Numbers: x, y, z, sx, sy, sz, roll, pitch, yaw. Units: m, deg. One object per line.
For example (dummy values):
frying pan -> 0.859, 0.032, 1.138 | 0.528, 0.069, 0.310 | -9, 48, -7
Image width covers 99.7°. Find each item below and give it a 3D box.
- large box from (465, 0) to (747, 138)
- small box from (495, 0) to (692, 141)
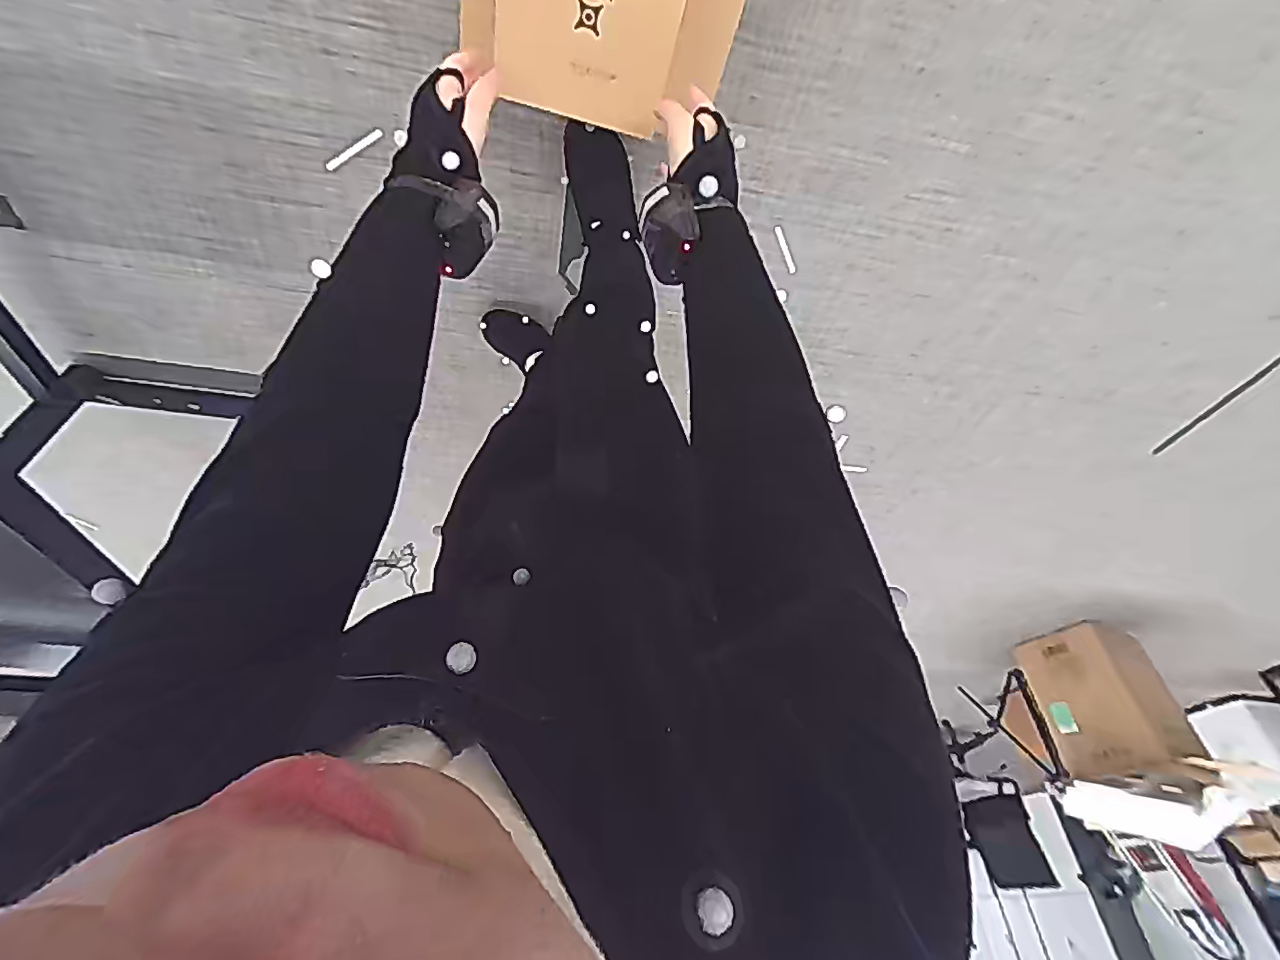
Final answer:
large box -> -0.019, -0.707, 0.636 | 0.320, 0.320, 0.408 | 8, 139, -12
small box -> -0.040, -0.478, 0.529 | 0.168, 0.176, 0.179 | 10, 140, -11
